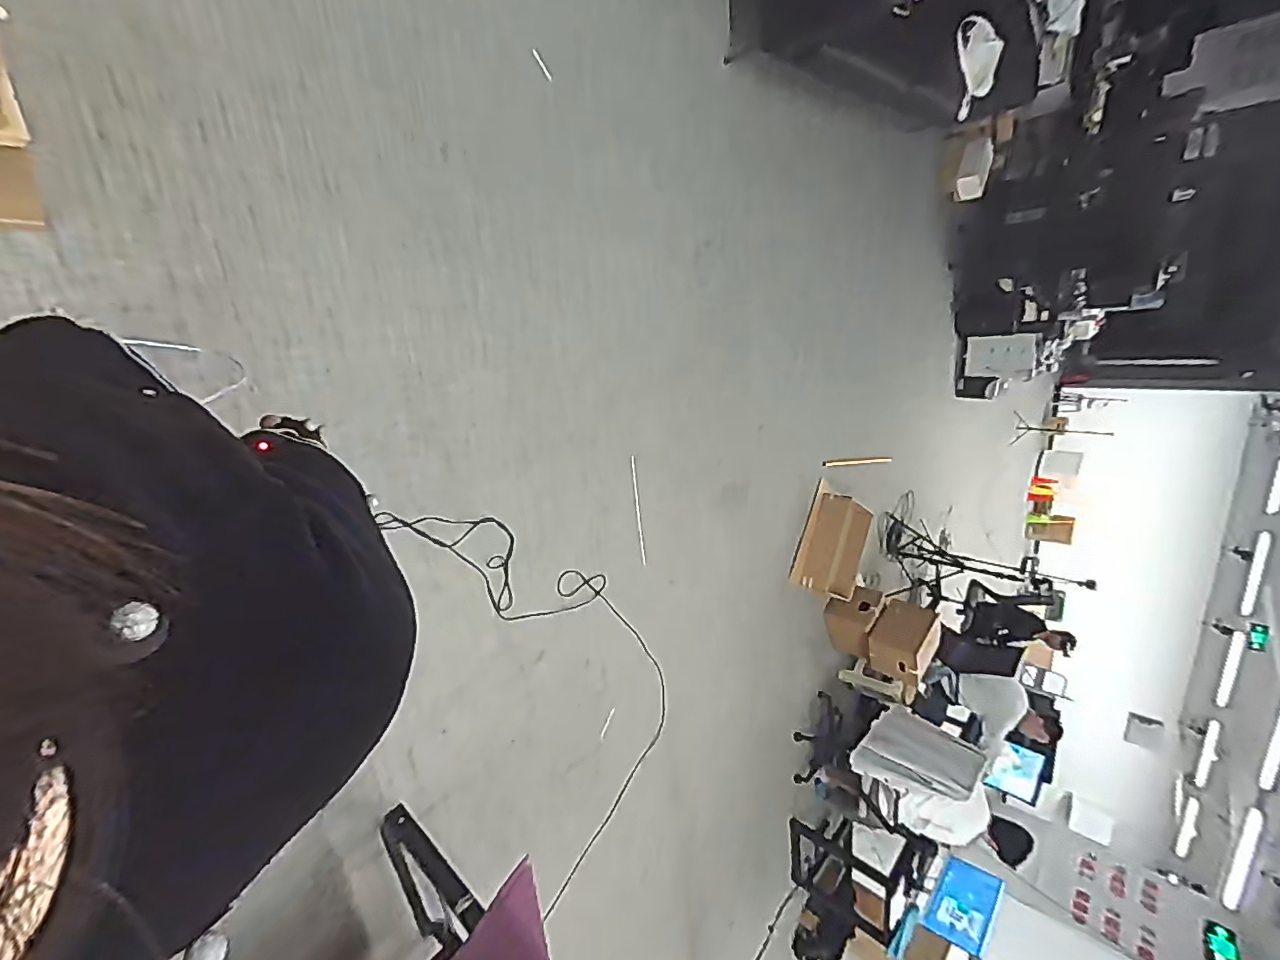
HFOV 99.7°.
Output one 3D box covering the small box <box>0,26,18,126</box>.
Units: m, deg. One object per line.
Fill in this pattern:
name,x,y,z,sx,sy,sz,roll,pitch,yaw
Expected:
small box,-0.768,-0.494,0.539,0.168,0.176,0.179,-13,108,-43
